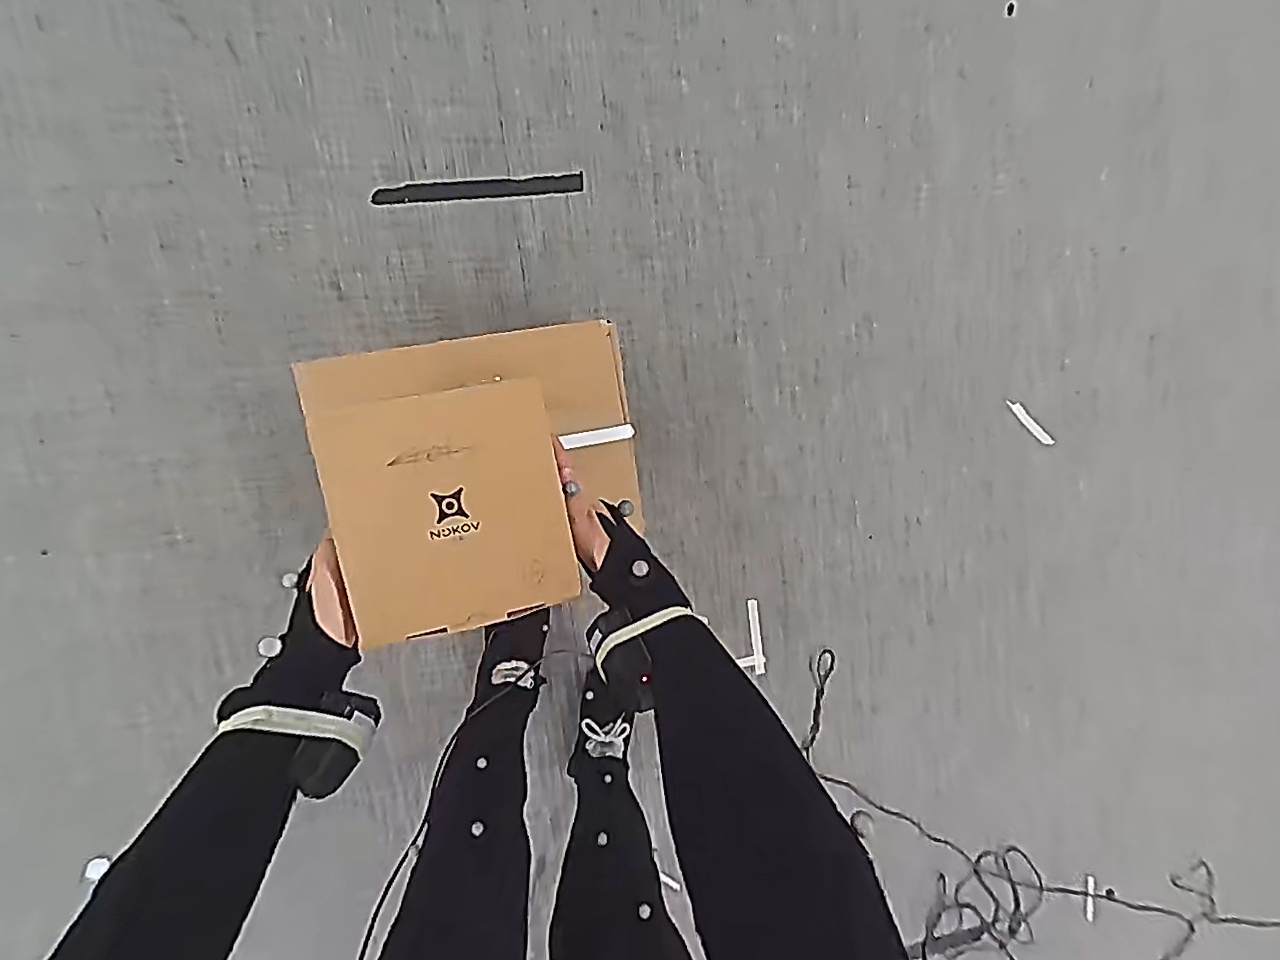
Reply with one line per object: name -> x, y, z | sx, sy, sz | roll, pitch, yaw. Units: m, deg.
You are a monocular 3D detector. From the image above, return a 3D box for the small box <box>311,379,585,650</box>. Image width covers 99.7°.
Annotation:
small box -> -0.150, 0.019, 0.476 | 0.168, 0.176, 0.179 | -13, 95, -11
